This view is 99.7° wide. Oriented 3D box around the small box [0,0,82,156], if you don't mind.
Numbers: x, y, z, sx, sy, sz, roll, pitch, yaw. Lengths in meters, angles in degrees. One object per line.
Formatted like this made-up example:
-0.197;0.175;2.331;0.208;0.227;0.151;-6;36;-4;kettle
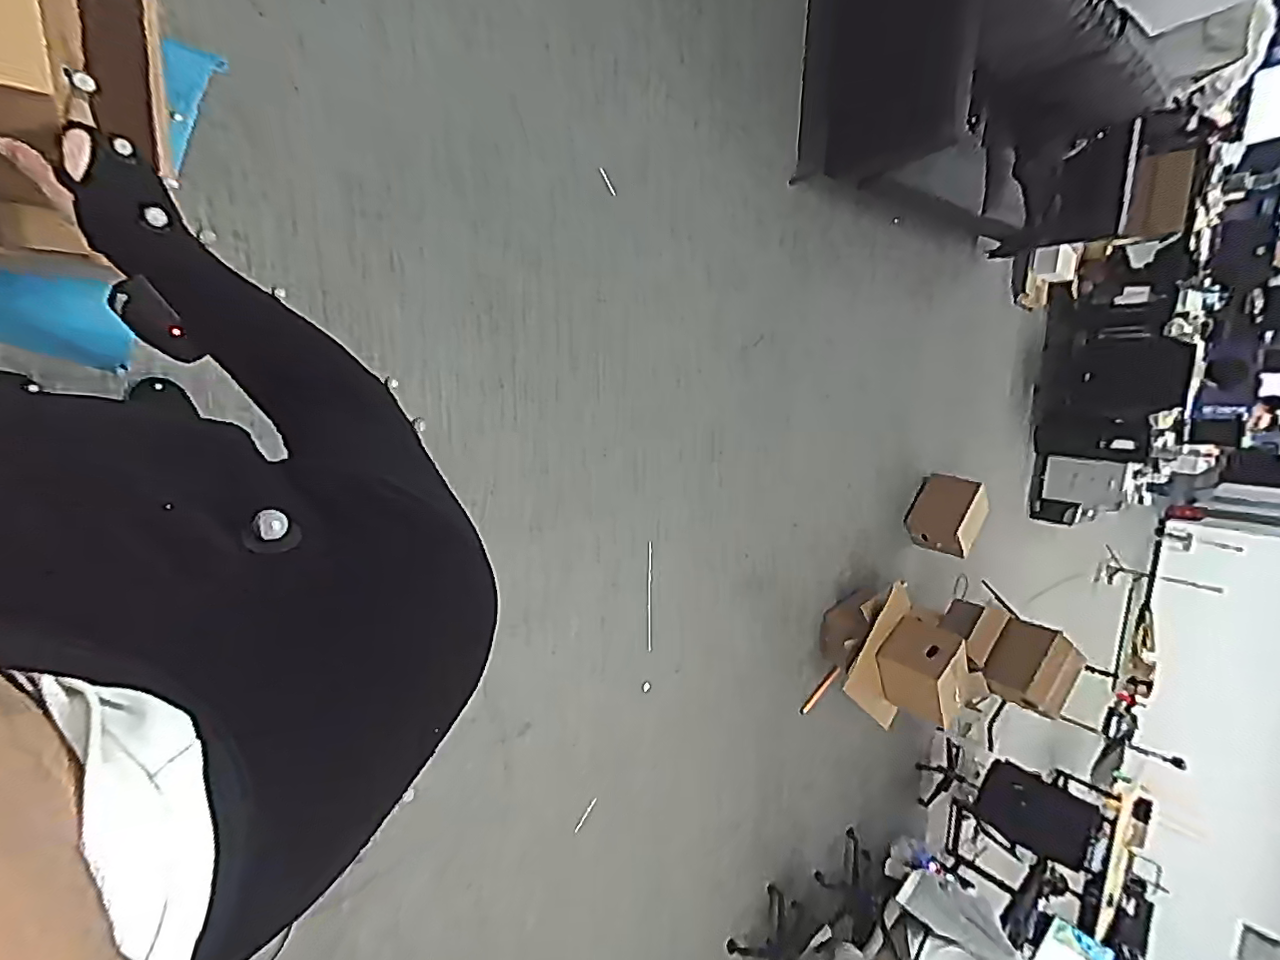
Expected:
-0.570;-0.376;0.409;0.179;0.176;0.168;-8;102;-39;small box
